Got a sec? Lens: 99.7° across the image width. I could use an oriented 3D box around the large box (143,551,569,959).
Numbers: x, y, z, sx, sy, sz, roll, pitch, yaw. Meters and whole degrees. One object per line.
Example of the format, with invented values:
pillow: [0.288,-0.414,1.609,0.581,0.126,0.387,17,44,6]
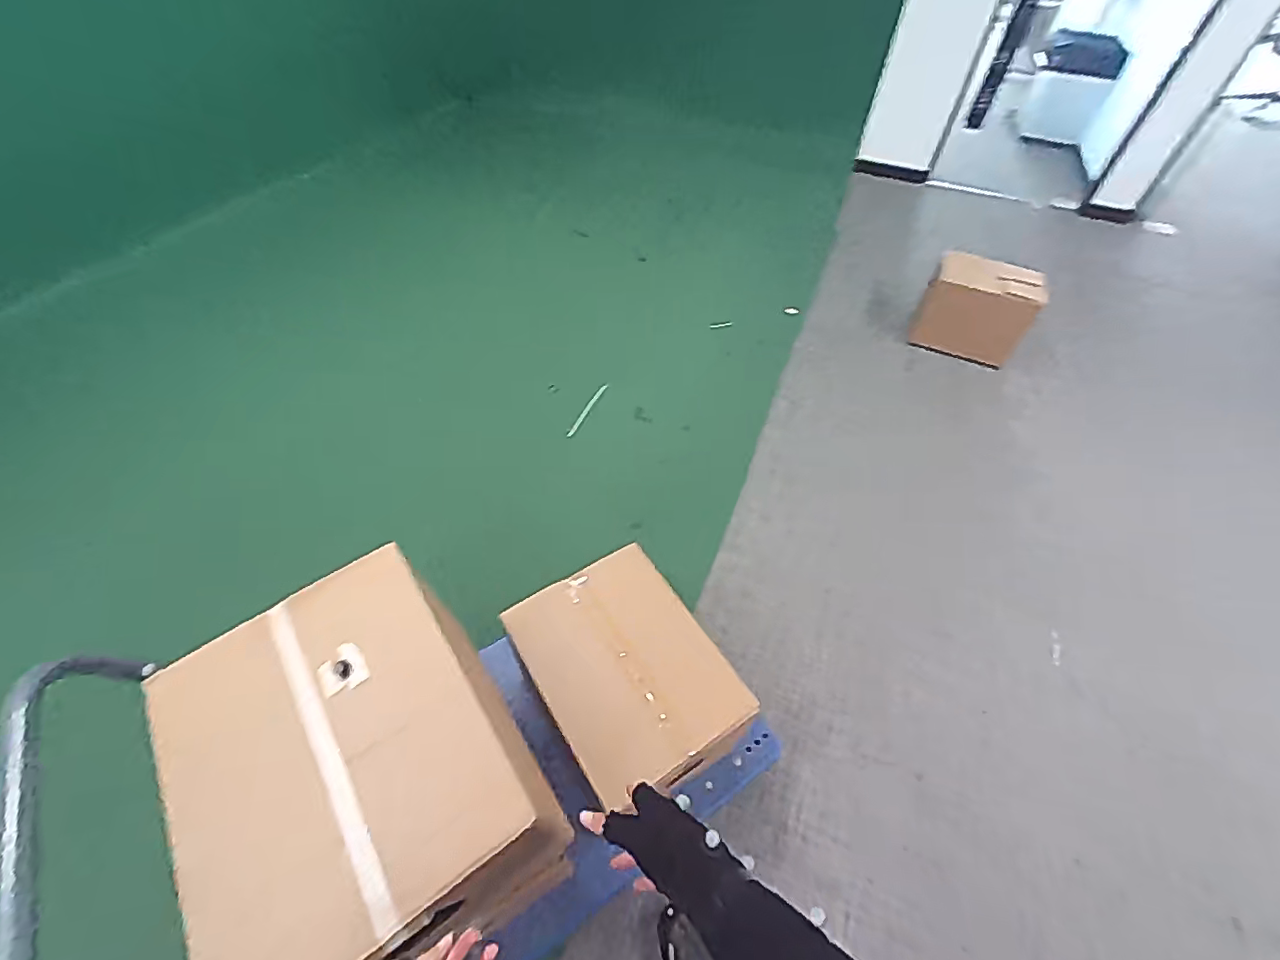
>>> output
large box: [-0.342,0.382,0.710,0.320,0.320,0.408,-31,57,-20]
